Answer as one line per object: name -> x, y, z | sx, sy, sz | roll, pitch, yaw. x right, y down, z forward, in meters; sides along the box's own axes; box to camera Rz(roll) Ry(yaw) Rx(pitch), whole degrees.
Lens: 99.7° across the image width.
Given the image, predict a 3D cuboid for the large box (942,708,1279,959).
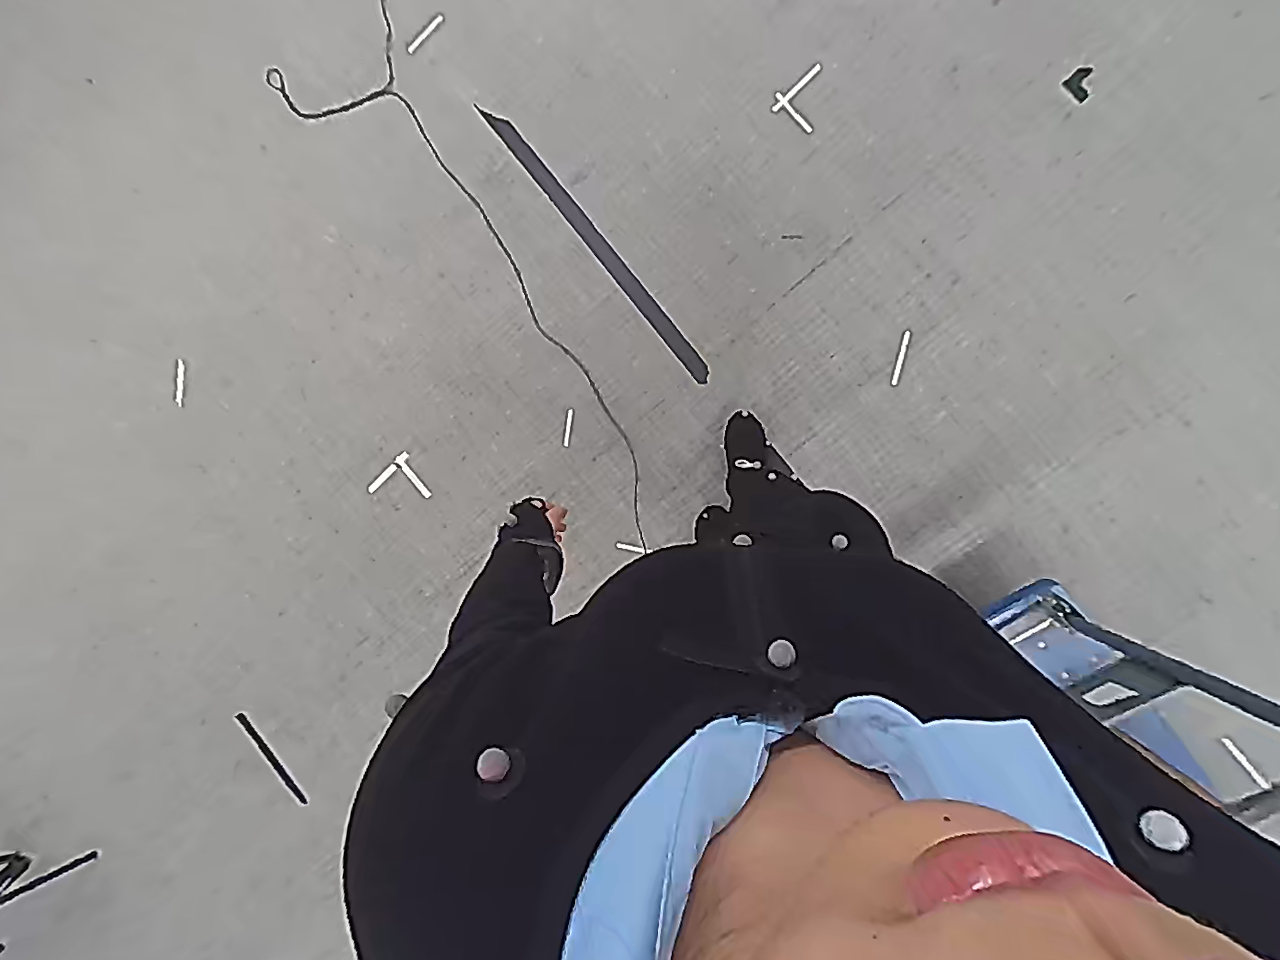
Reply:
large box -> 0.916, 0.740, 1.075 | 0.408, 0.320, 0.320 | -34, 87, 9
